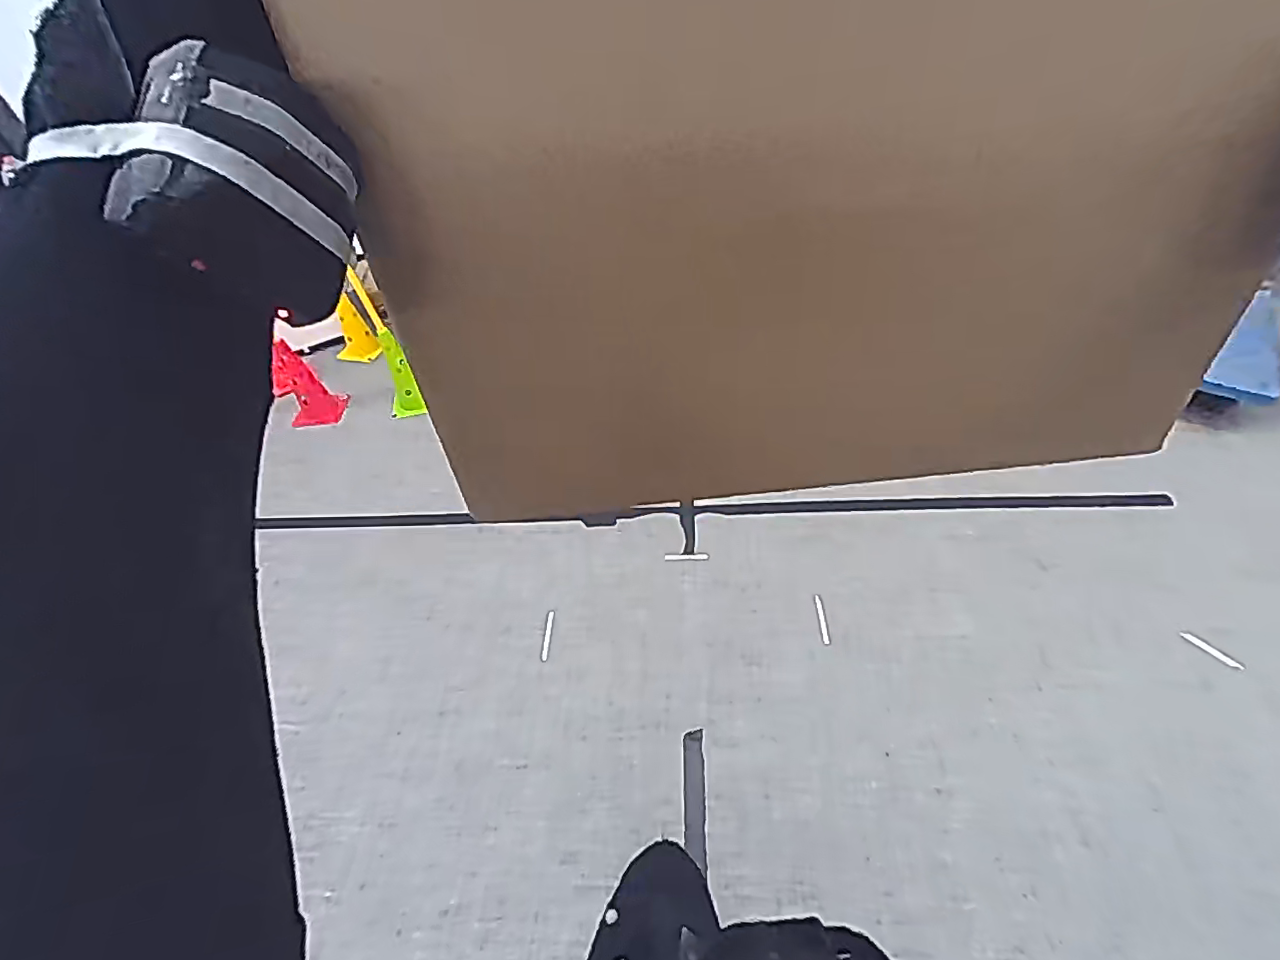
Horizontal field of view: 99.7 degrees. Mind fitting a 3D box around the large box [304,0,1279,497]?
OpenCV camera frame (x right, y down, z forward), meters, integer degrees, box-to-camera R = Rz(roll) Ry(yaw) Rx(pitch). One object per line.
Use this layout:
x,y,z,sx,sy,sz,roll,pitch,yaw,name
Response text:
0.074,-0.215,0.350,0.408,0.320,0.320,-6,39,0,large box
